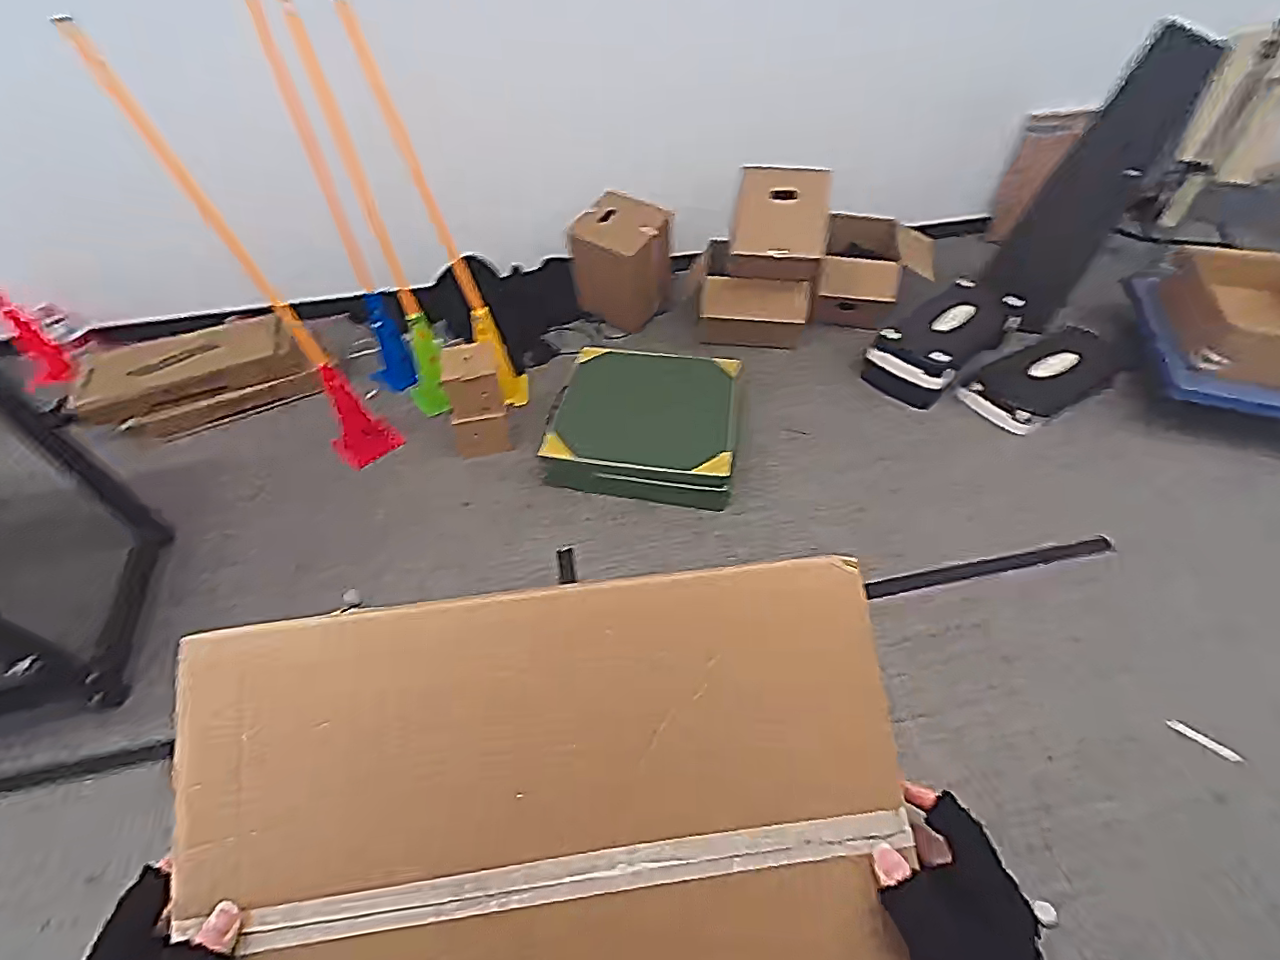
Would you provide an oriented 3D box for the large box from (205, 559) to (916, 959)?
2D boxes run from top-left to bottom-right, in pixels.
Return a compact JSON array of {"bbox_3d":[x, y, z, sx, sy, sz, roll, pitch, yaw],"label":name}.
[{"bbox_3d":[-0.052,0.250,0.461,0.408,0.320,0.320,-6,81,-3],"label":"large box"}]
